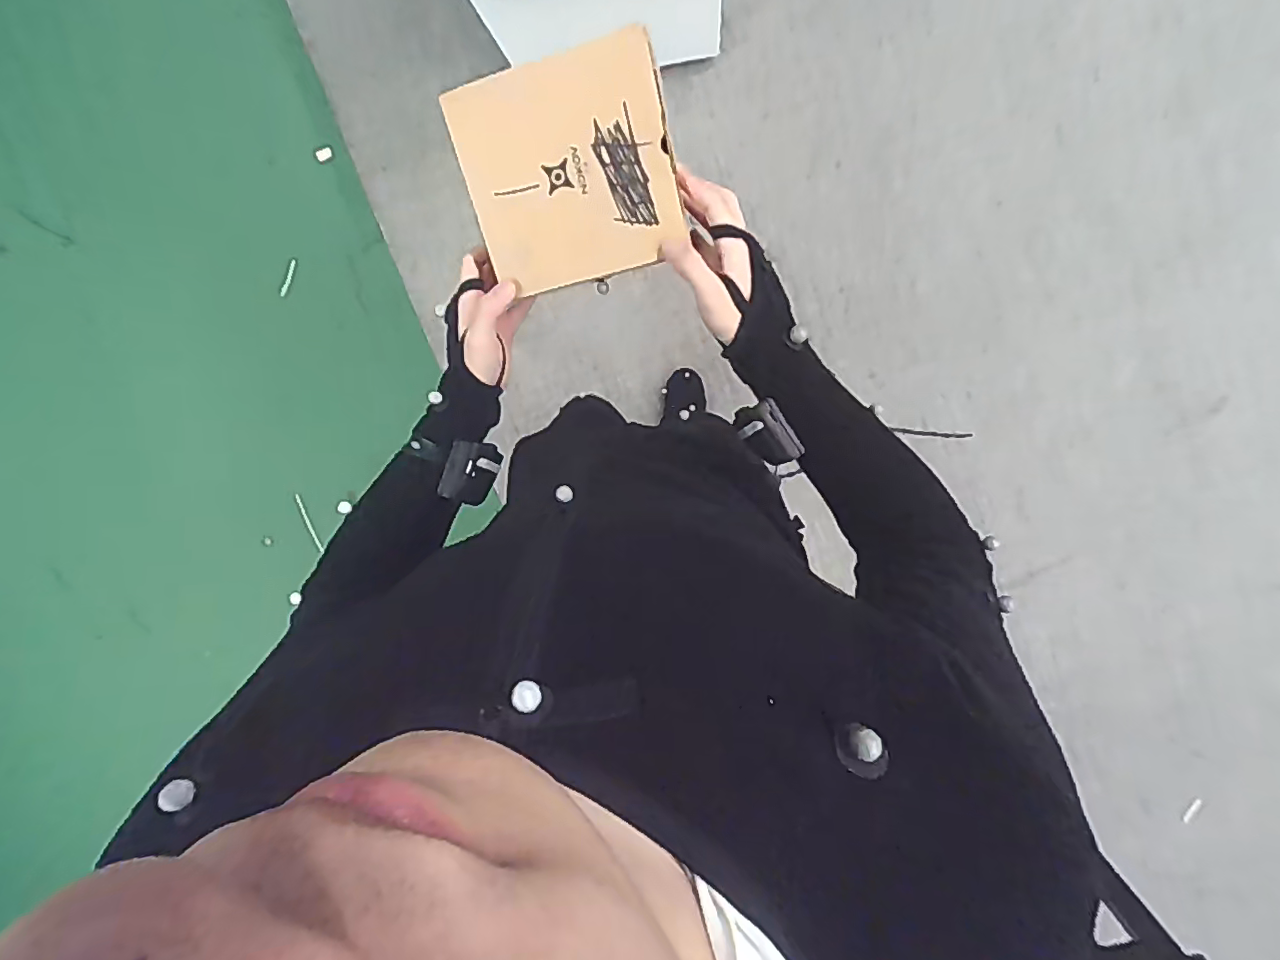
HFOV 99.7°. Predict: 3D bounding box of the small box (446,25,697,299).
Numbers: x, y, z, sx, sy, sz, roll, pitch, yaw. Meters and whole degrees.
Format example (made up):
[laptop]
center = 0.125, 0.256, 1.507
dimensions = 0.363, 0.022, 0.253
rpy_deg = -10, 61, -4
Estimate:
[small box]
center = -0.046, -0.283, 0.517
dimensions = 0.179, 0.176, 0.168
rpy_deg = -11, 111, 11
